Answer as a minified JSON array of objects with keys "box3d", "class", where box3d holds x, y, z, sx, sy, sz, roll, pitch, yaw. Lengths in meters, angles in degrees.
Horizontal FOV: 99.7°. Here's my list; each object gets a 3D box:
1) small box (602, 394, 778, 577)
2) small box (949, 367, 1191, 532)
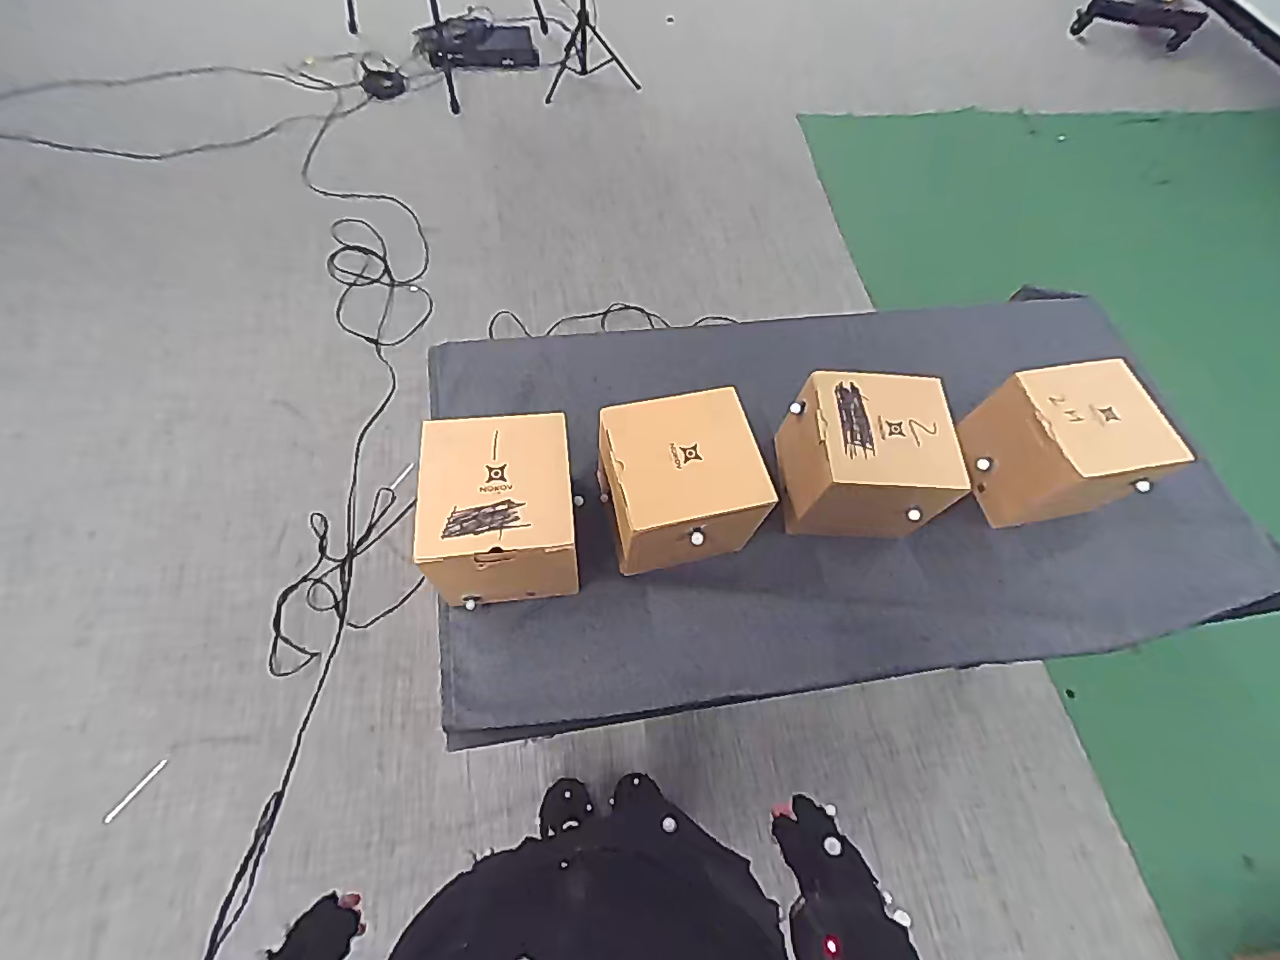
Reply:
[{"box3d":[0.051,0.013,0.708,0.179,0.176,0.168,-11,65,-10],"class":"small box"},{"box3d":[0.597,-0.039,0.778,0.179,0.176,0.168,-8,63,-9],"class":"small box"}]
